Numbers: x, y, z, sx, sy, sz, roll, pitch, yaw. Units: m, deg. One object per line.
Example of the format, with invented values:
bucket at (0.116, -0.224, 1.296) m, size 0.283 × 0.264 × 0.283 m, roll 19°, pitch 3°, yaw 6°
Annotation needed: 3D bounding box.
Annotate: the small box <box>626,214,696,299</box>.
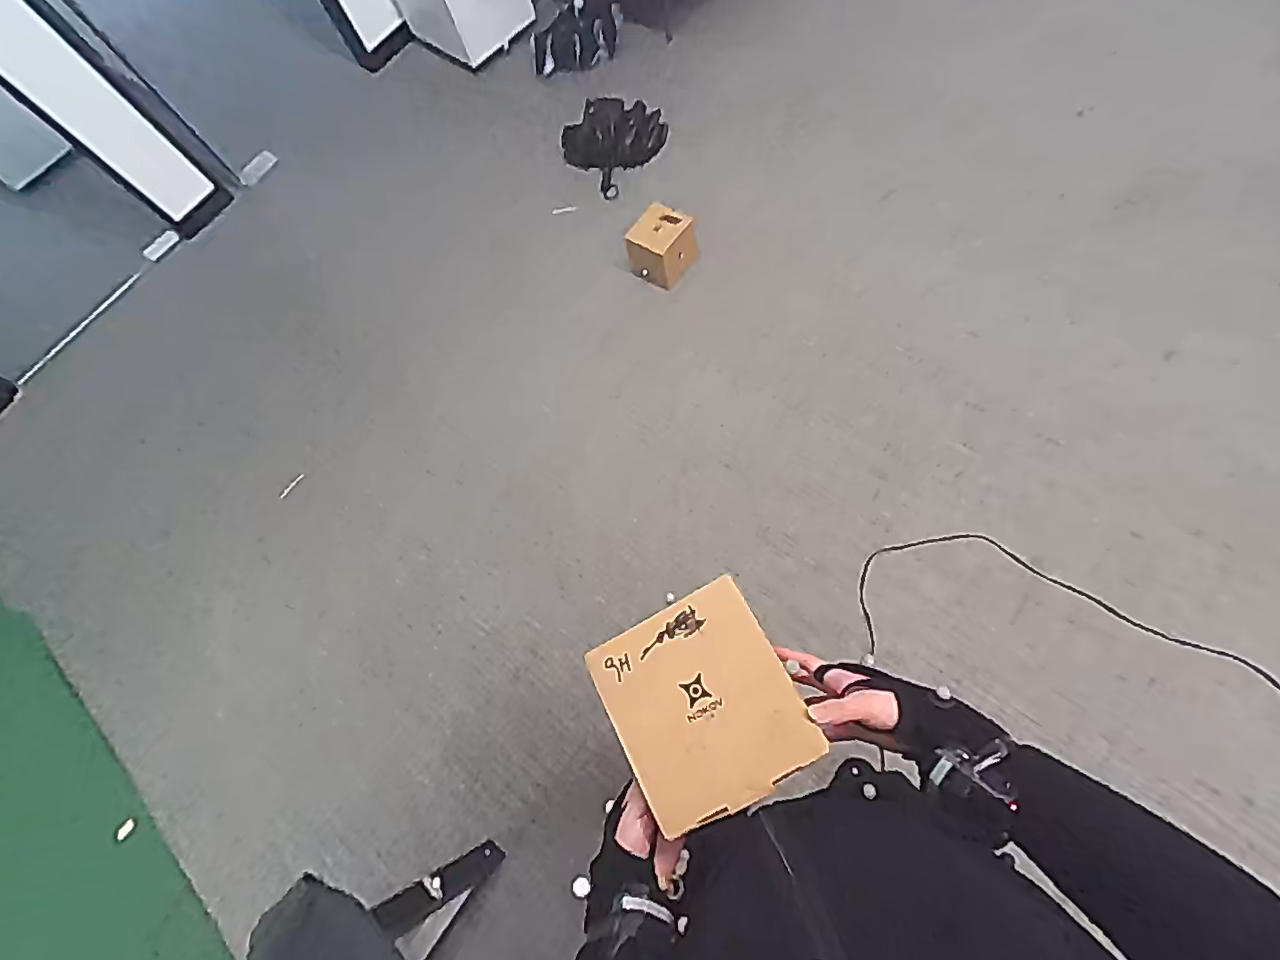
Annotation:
small box at (0.079, -0.765, 1.859) m, size 0.168 × 0.176 × 0.179 m, roll 33°, pitch 79°, yaw 22°
